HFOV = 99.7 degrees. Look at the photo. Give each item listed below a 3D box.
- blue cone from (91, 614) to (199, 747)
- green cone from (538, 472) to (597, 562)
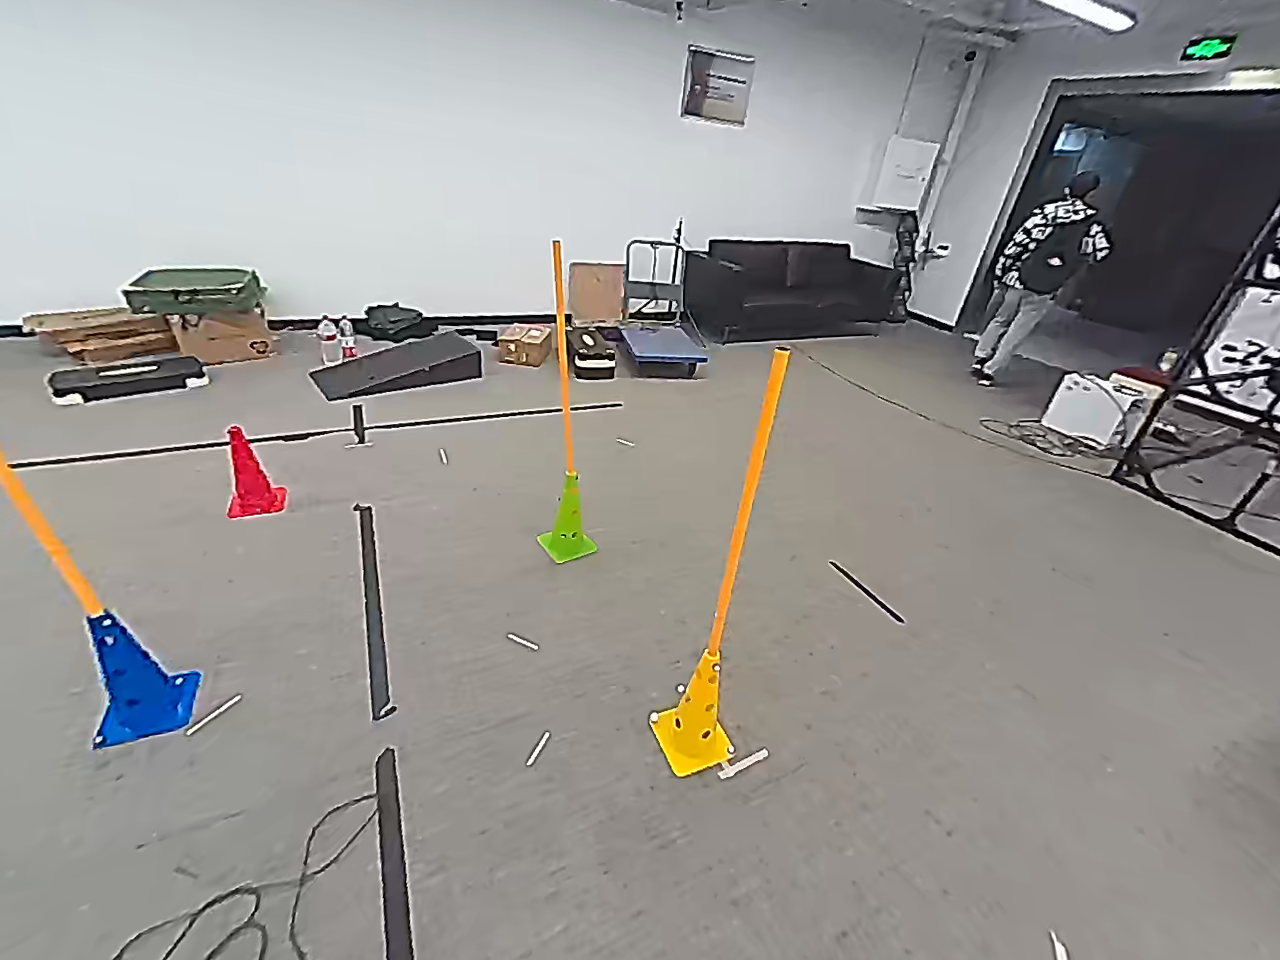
[{"bbox_3d":[-1.327,0.490,1.407,0.193,0.380,0.192,-7,34,-22],"label":"blue cone"},{"bbox_3d":[-0.289,0.125,2.214,0.200,0.368,0.202,-16,39,-33],"label":"green cone"}]
